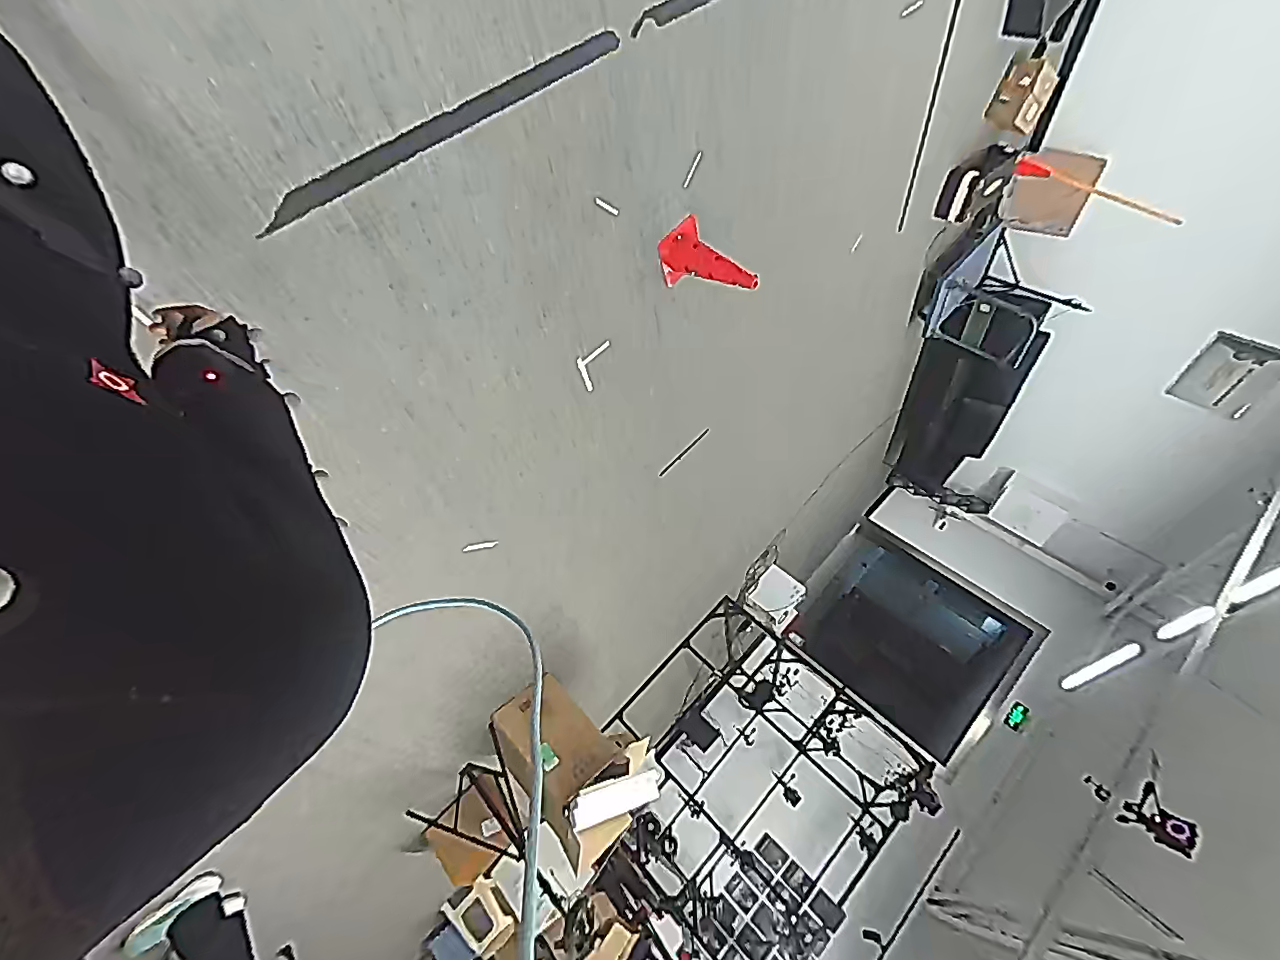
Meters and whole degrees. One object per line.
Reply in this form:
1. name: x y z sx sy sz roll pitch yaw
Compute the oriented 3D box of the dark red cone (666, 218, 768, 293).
1. dark red cone: 0.291 -0.754 1.923 0.202 0.394 0.201 -46 149 -12
